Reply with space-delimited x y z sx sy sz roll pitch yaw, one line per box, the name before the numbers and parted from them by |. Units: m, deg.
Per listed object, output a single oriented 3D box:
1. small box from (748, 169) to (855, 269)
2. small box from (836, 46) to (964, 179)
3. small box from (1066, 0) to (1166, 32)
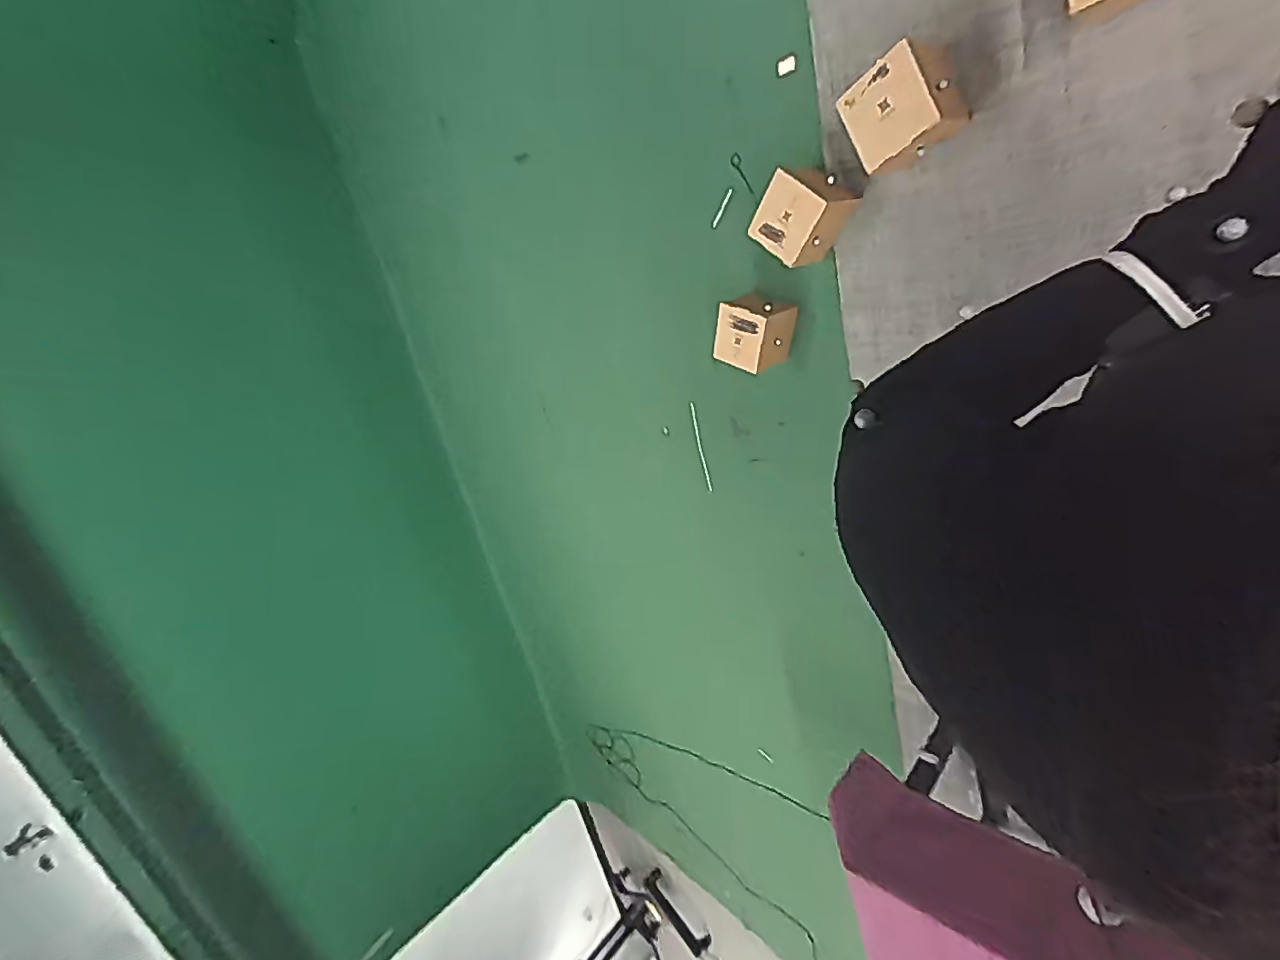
small box | 0.424 -0.685 1.415 0.168 0.176 0.179 48 140 18
small box | 0.569 -0.794 1.176 0.168 0.176 0.179 -21 96 53
small box | 0.801 -0.860 0.860 0.179 0.176 0.168 3 113 48
